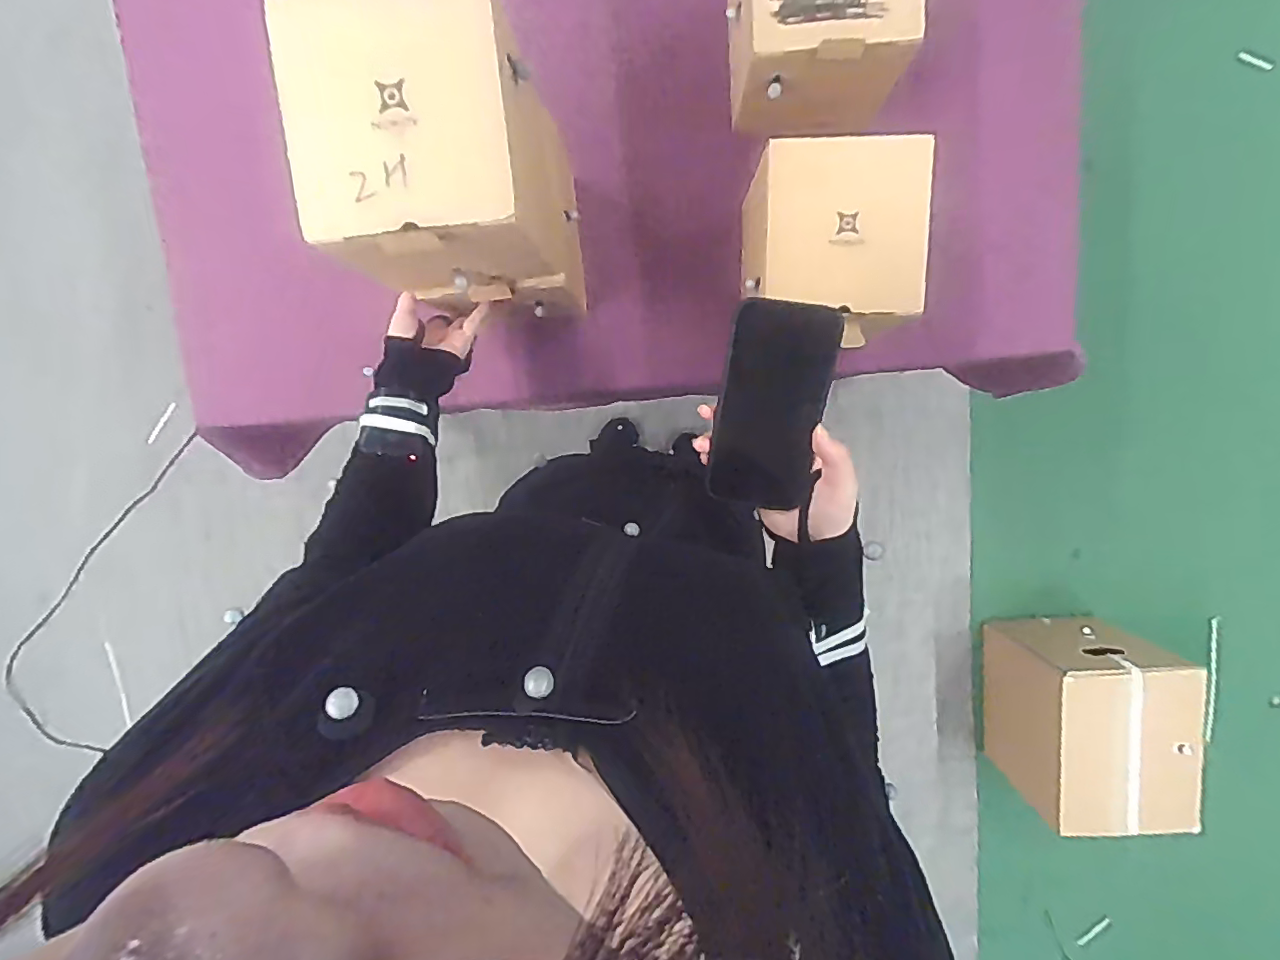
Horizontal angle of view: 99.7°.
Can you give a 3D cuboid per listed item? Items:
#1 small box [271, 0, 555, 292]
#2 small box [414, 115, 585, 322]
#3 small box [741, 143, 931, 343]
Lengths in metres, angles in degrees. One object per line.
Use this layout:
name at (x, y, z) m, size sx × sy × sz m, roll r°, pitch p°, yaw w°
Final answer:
small box at (-0.178, -0.281, 0.479) m, size 0.168 × 0.176 × 0.179 m, roll -5°, pitch 98°, yaw 3°
small box at (-0.162, -0.290, 0.642) m, size 0.168 × 0.176 × 0.179 m, roll -4°, pitch 96°, yaw 2°
small box at (0.212, -0.260, 0.631) m, size 0.168 × 0.176 × 0.179 m, roll 0°, pitch 98°, yaw 2°
